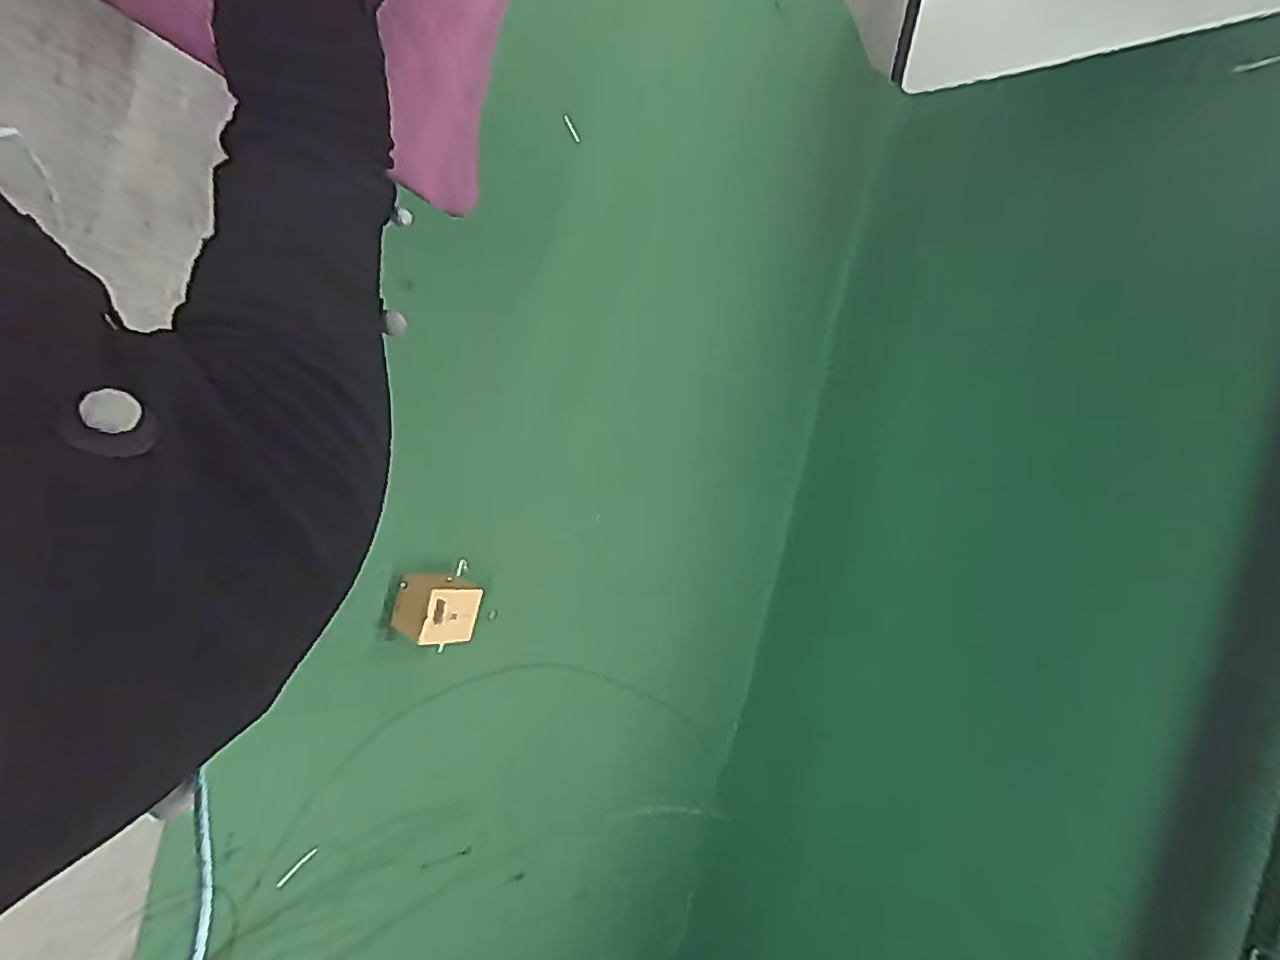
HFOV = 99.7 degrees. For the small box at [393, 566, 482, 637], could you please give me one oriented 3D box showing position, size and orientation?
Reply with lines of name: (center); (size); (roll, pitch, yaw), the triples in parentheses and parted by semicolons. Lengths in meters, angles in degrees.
small box: (-0.621, 0.368, 1.648); (0.179, 0.176, 0.168); (16, 90, -52)
